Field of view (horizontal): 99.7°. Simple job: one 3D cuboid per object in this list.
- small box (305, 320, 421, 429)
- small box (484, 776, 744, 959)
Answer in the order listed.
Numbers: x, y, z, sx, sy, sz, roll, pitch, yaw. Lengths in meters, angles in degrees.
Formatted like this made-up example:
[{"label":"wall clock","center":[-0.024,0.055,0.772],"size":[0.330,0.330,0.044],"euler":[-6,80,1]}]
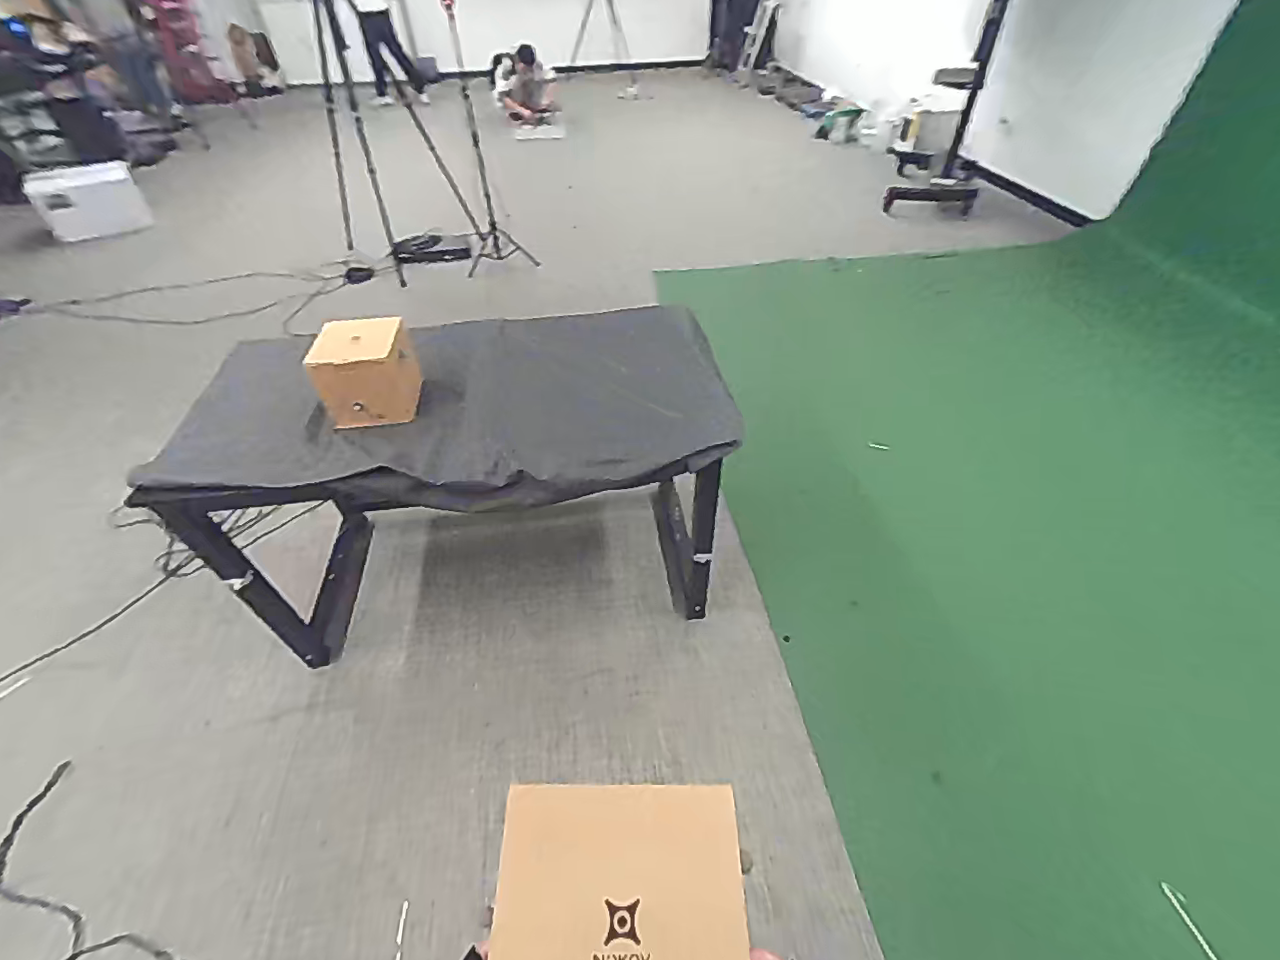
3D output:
[{"label":"small box","center":[-0.601,-0.235,1.202],"size":[0.168,0.176,0.179],"euler":[-6,45,-5]},{"label":"small box","center":[-0.021,0.338,0.408],"size":[0.168,0.176,0.179],"euler":[2,52,-3]}]
